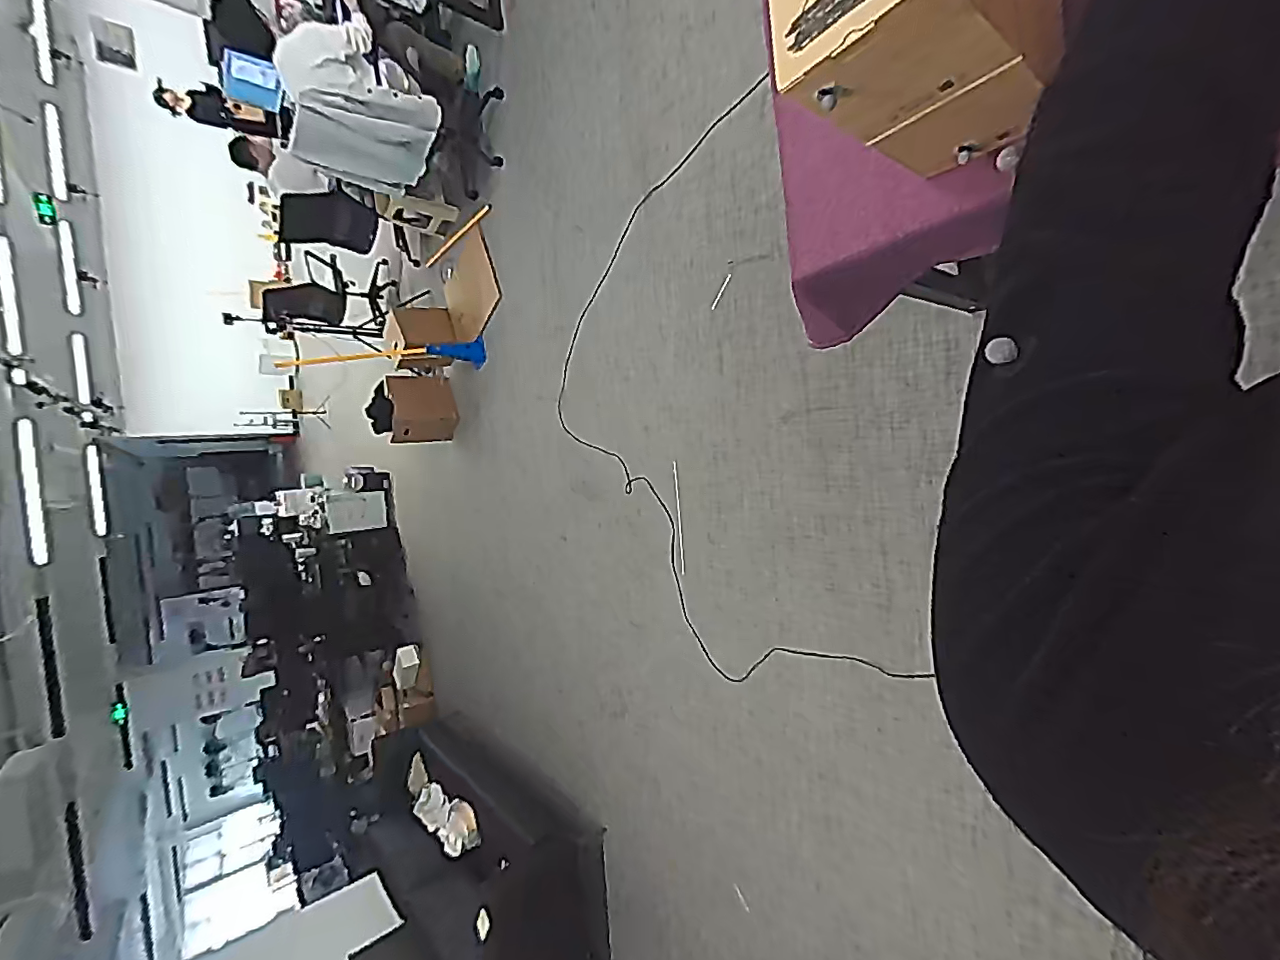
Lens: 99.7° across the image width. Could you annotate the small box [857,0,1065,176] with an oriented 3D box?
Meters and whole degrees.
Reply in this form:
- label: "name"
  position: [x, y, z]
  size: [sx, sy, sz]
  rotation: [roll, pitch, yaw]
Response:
- label: "small box"
  position: [0.385, -0.506, 0.650]
  size: [0.168, 0.176, 0.179]
  rotation: [-3, 93, 52]
